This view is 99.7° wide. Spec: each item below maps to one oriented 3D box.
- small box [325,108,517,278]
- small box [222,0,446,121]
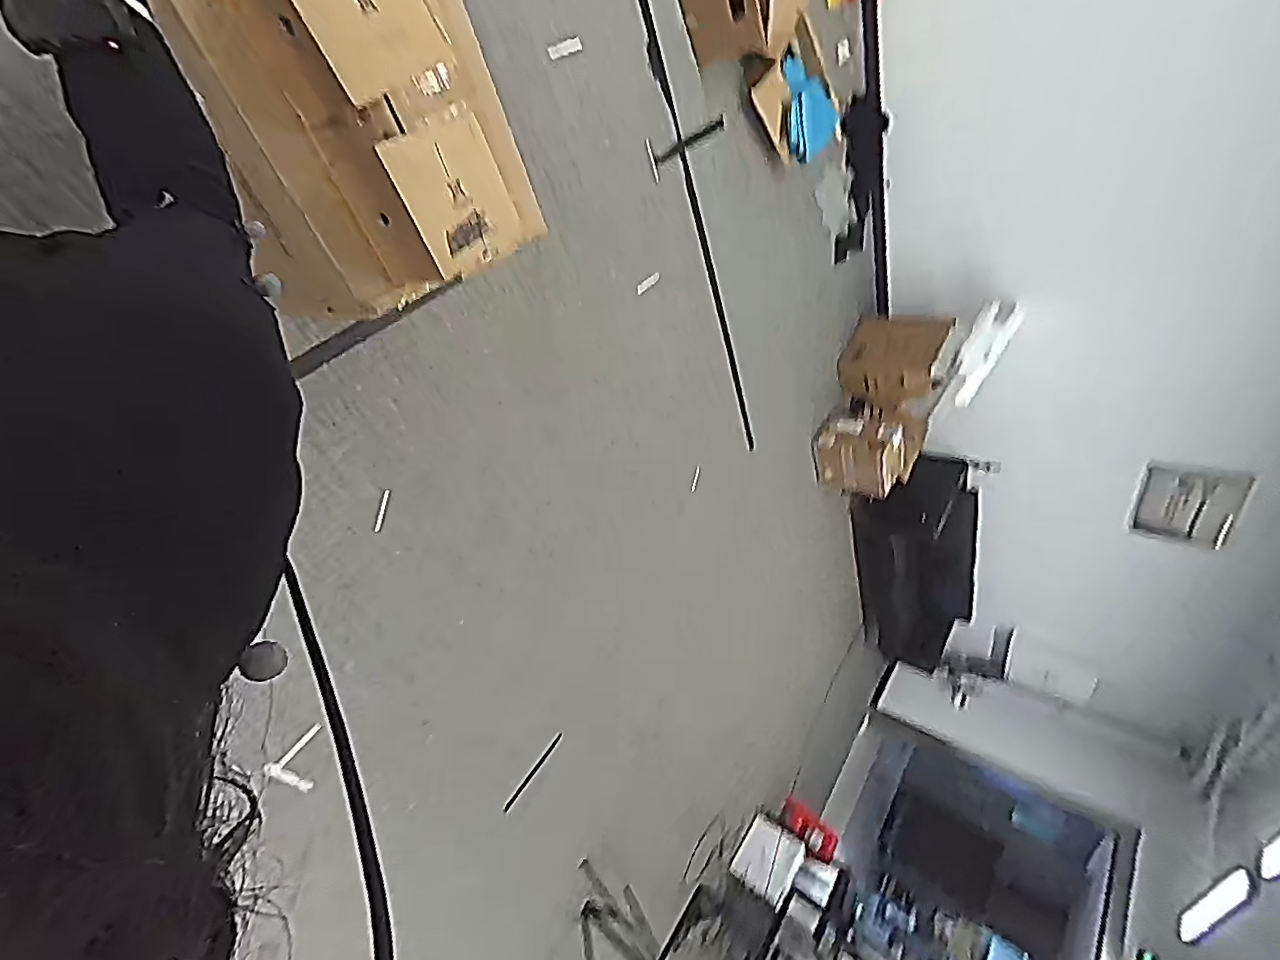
[{"bbox_3d":[-0.324,-0.418,0.810,0.168,0.176,0.179,-46,131,-30],"label":"small box"},{"bbox_3d":[-0.391,-0.587,0.677,0.168,0.176,0.179,-49,136,-26],"label":"small box"}]
